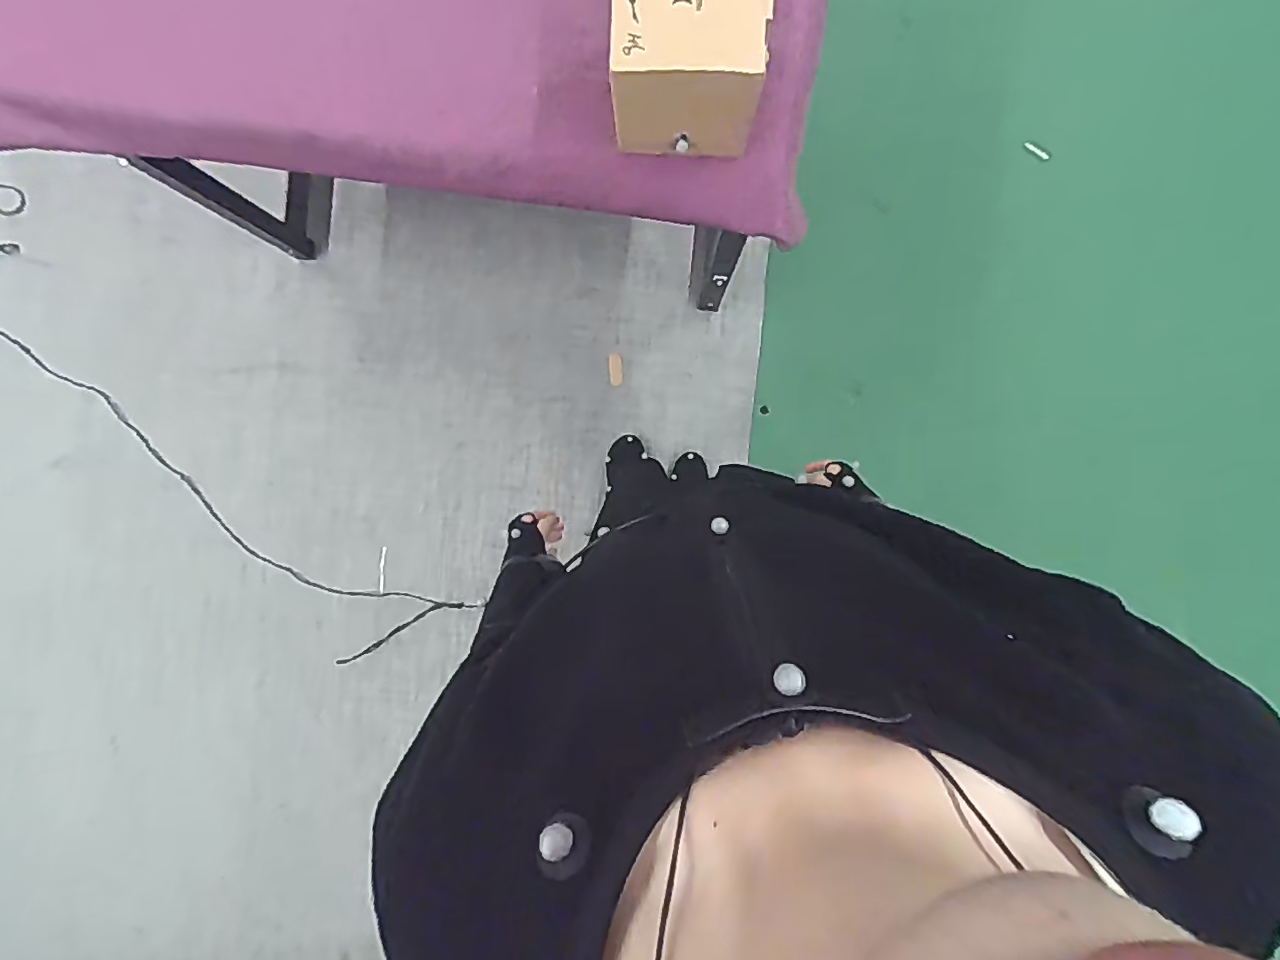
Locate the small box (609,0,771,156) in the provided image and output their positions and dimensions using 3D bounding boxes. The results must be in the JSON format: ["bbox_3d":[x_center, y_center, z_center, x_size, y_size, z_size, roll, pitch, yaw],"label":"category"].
[{"bbox_3d":[0.059,-0.532,0.673,0.179,0.176,0.168,3,92,2],"label":"small box"}]
